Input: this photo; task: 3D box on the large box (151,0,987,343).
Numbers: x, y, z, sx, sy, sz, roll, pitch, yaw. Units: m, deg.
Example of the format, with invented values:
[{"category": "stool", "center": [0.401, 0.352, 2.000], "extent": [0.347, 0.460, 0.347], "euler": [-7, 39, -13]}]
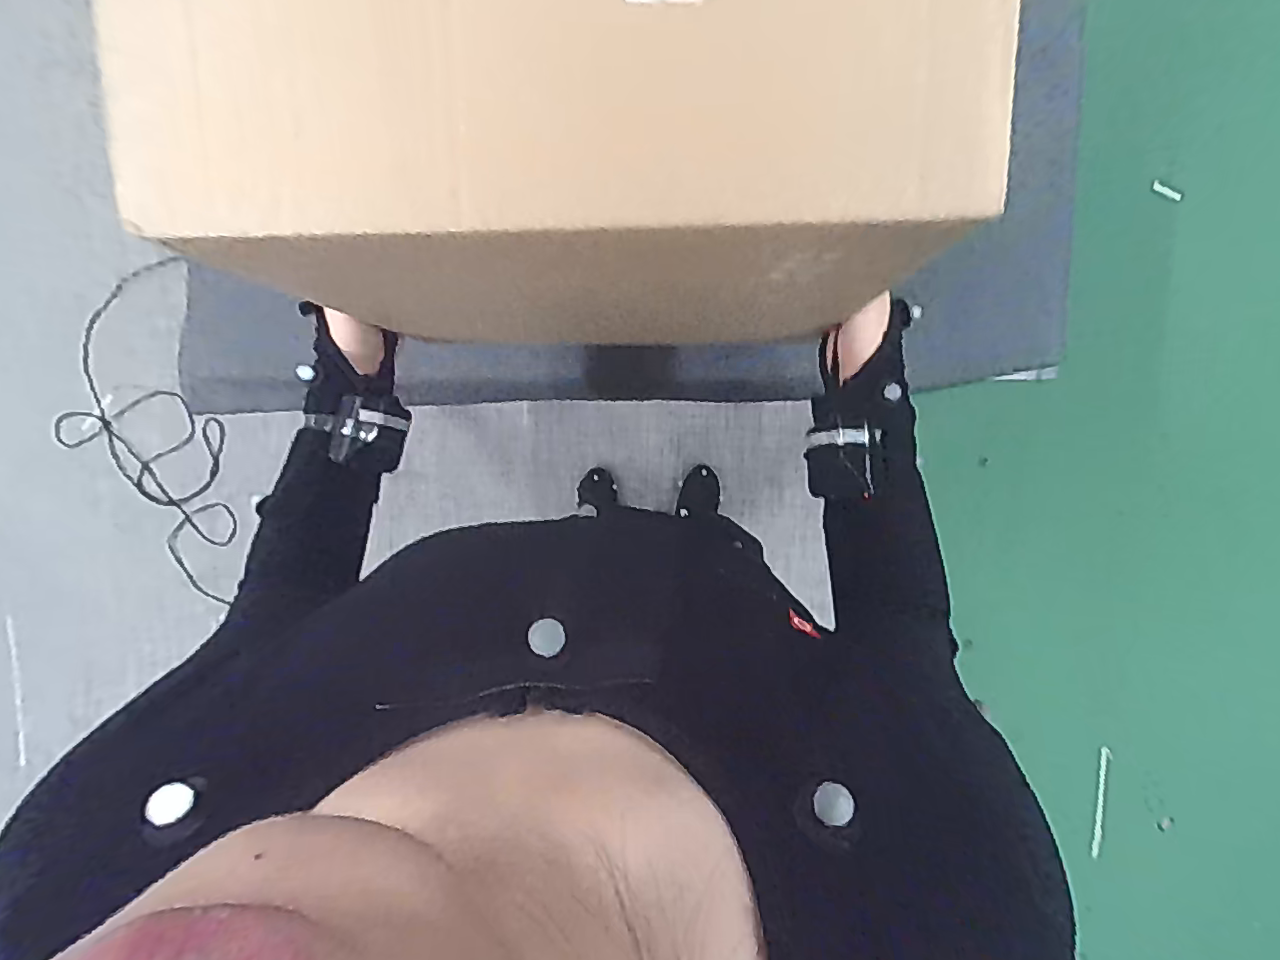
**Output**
[{"category": "large box", "center": [-0.033, -0.288, 0.401], "extent": [0.408, 0.320, 0.320], "euler": [0, 95, 3]}]
